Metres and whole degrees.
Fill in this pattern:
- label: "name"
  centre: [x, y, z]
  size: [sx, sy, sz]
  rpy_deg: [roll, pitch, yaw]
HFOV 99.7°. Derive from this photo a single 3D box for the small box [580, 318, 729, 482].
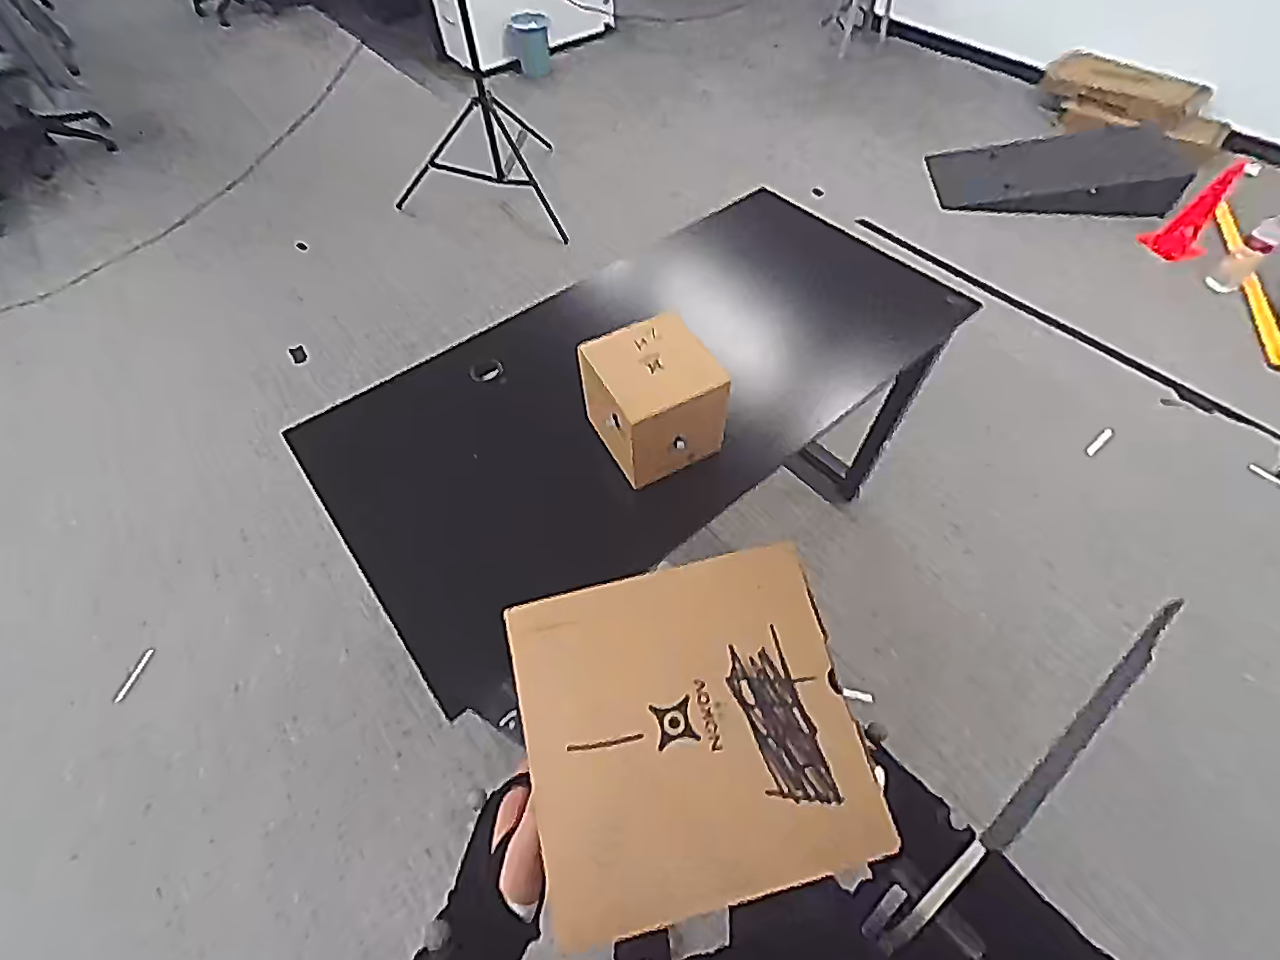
- label: "small box"
  centre: [0.021, -0.118, 0.862]
  size: [0.168, 0.176, 0.179]
  rpy_deg: [-25, 58, -15]
